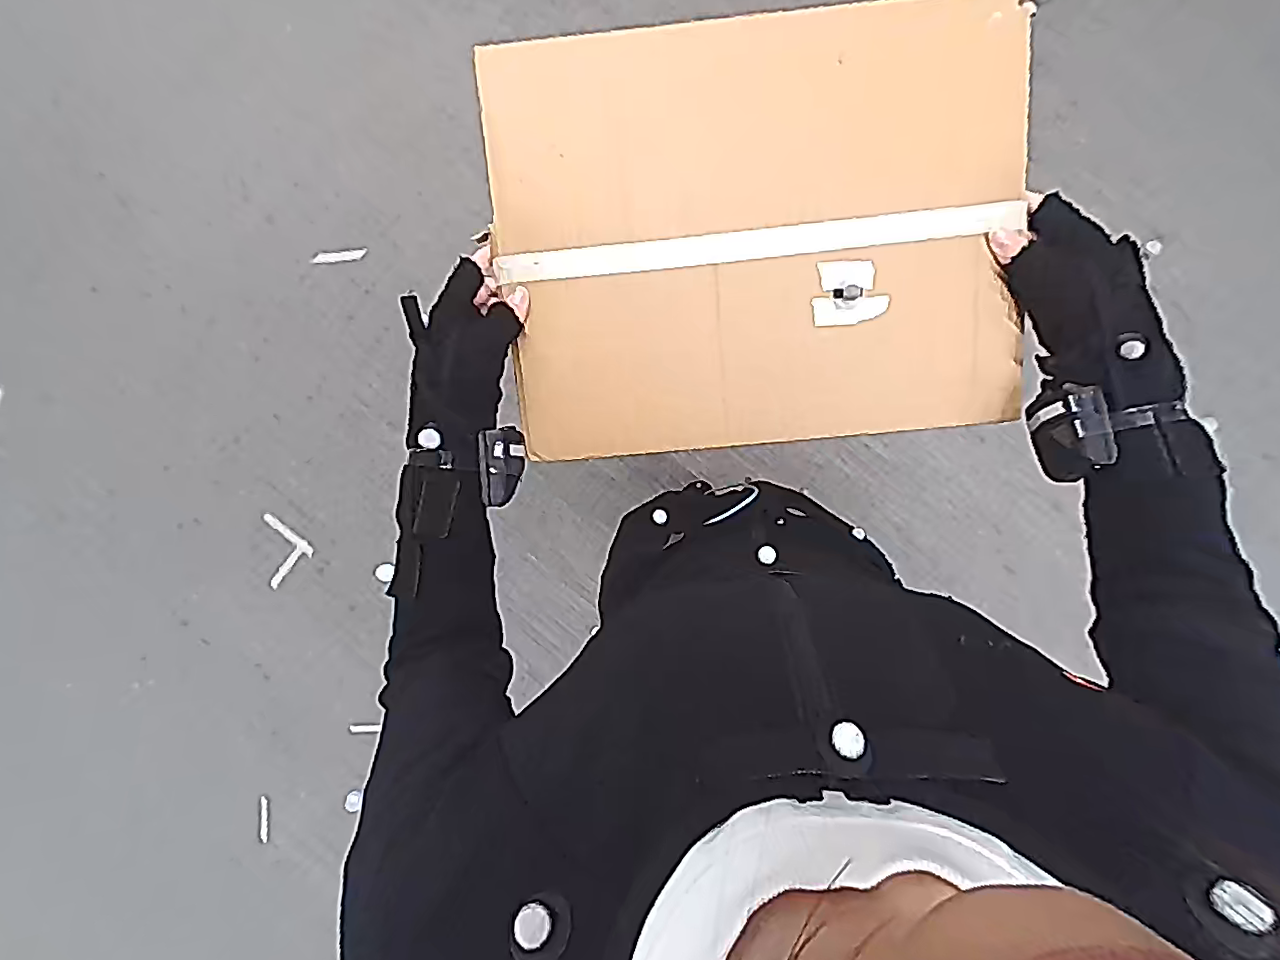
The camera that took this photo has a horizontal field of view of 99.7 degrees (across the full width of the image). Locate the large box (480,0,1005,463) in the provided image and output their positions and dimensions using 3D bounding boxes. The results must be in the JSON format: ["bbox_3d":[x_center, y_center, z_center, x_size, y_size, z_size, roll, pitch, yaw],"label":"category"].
[{"bbox_3d":[0.090,-0.212,0.581,0.408,0.320,0.320,-7,100,1],"label":"large box"}]
